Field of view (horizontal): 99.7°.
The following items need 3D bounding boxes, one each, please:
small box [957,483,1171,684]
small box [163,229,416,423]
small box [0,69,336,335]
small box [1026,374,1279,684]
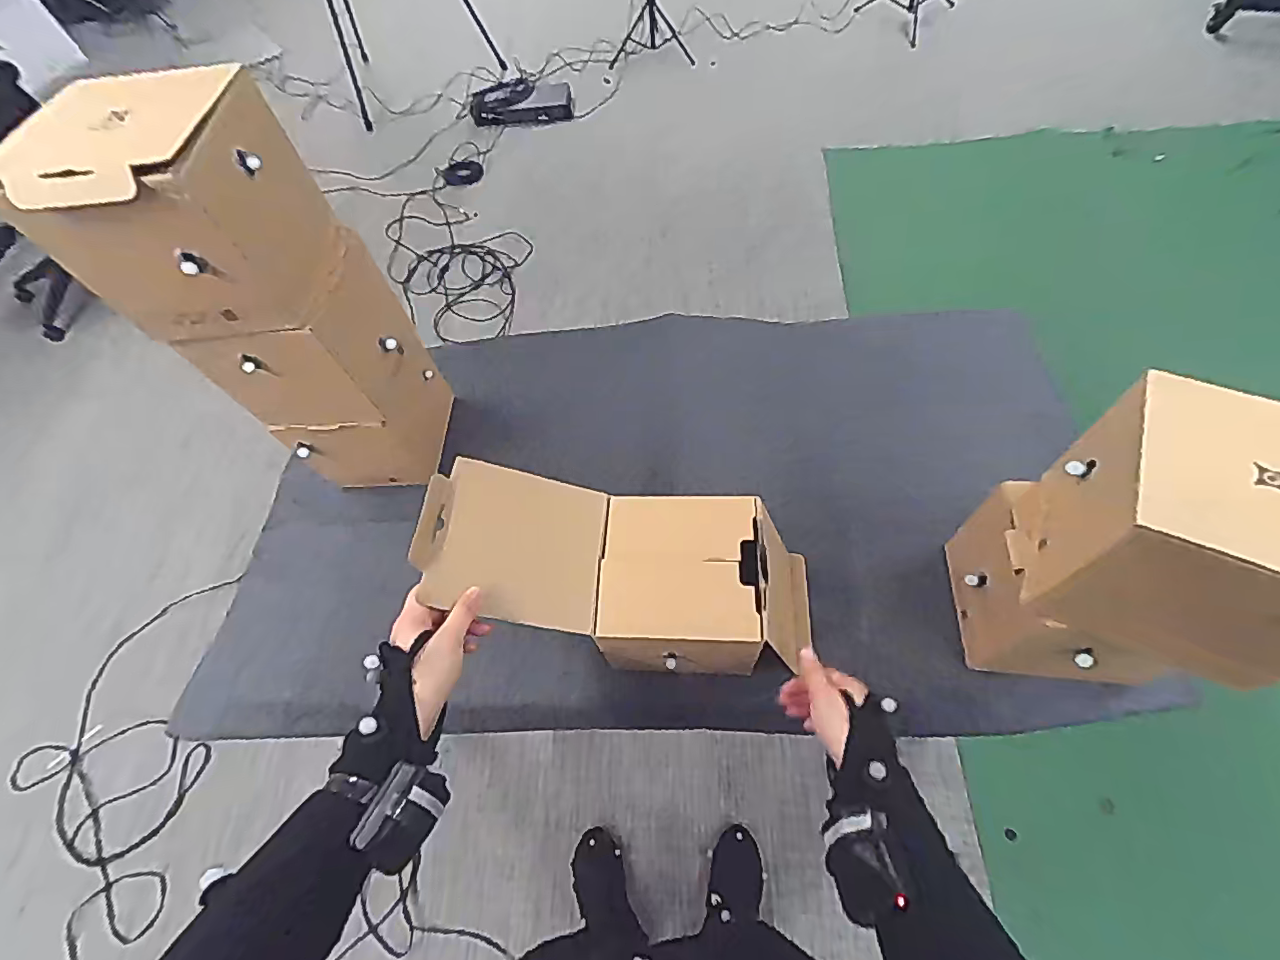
[{"bbox_3d":[0.477,0.119,0.599,0.179,0.176,0.168,3,58,9],"label":"small box"},{"bbox_3d":[-0.414,-0.183,0.674,0.179,0.176,0.168,-1,62,5],"label":"small box"},{"bbox_3d":[-0.435,-0.260,0.533,0.168,0.176,0.179,-4,60,2],"label":"small box"},{"bbox_3d":[0.465,0.047,0.451,0.179,0.176,0.168,23,63,18],"label":"small box"}]
